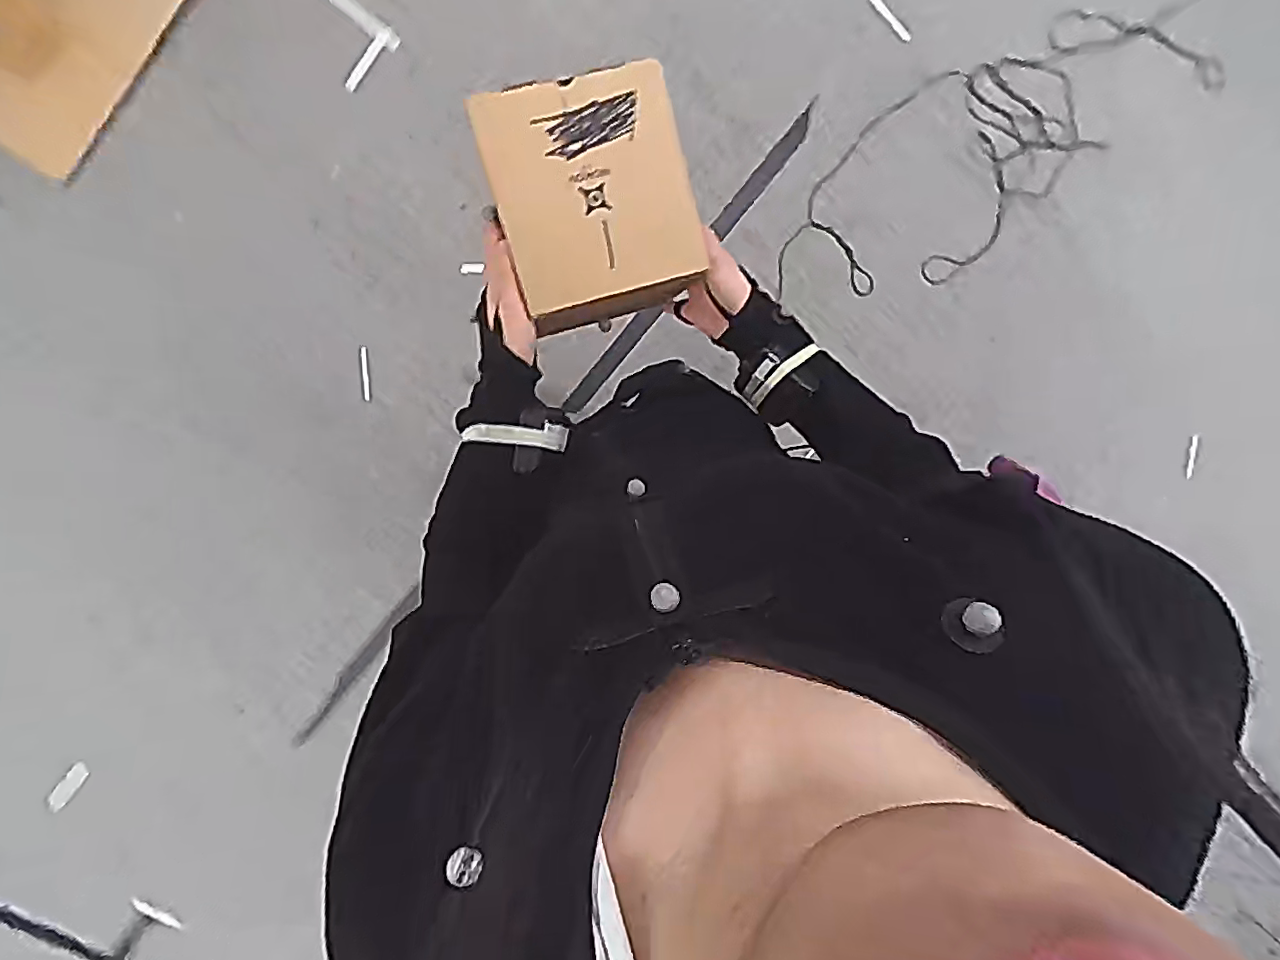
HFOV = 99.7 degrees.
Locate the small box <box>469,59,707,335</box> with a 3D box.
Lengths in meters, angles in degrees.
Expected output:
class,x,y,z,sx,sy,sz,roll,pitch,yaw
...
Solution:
class,x,y,z,sx,sy,sz,roll,pitch,yaw
small box,-0.053,-0.254,0.525,0.168,0.176,0.179,-16,101,-7
